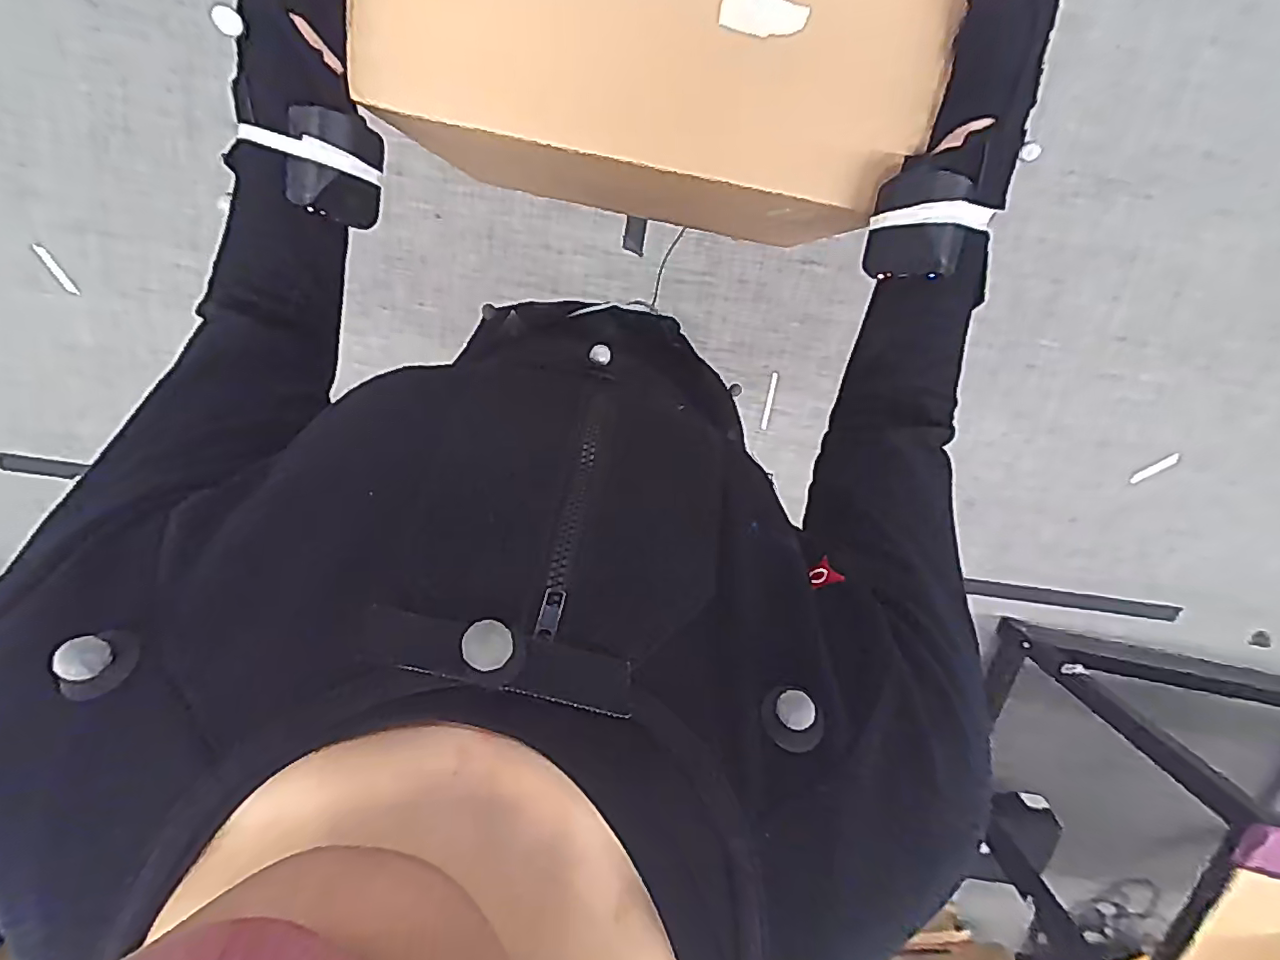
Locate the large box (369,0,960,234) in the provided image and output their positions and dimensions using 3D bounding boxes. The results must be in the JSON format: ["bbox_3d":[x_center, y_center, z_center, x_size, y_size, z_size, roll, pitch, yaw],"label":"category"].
[{"bbox_3d":[0.024,-0.431,0.486,0.408,0.320,0.320,9,110,-5],"label":"large box"}]
